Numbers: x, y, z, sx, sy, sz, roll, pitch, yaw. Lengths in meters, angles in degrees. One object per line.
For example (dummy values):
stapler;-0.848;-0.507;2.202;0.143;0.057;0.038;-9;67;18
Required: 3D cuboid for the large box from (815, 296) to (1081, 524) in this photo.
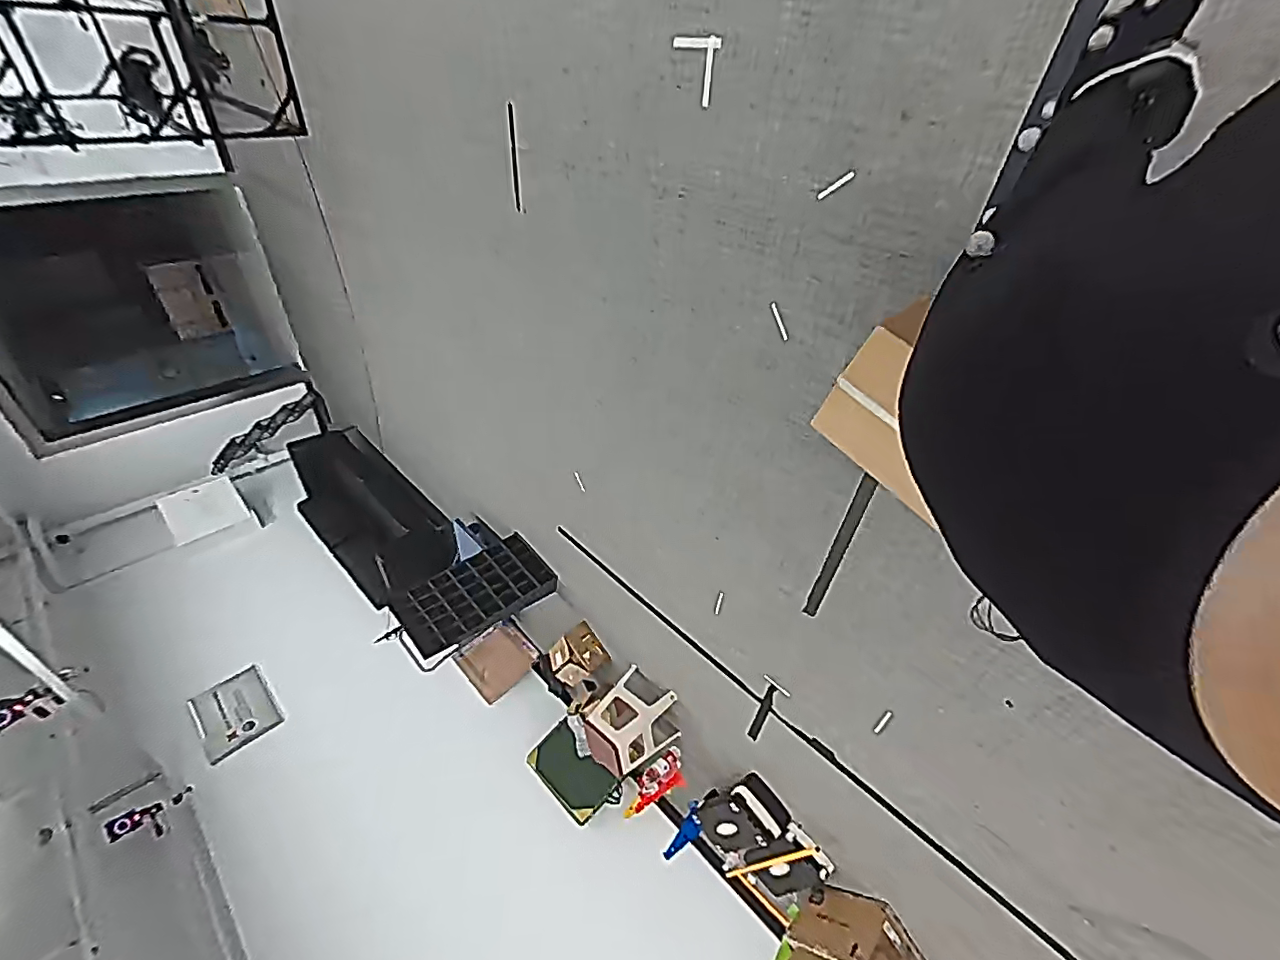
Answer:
large box;0.721;-0.181;1.300;0.408;0.320;0.320;45;142;20
